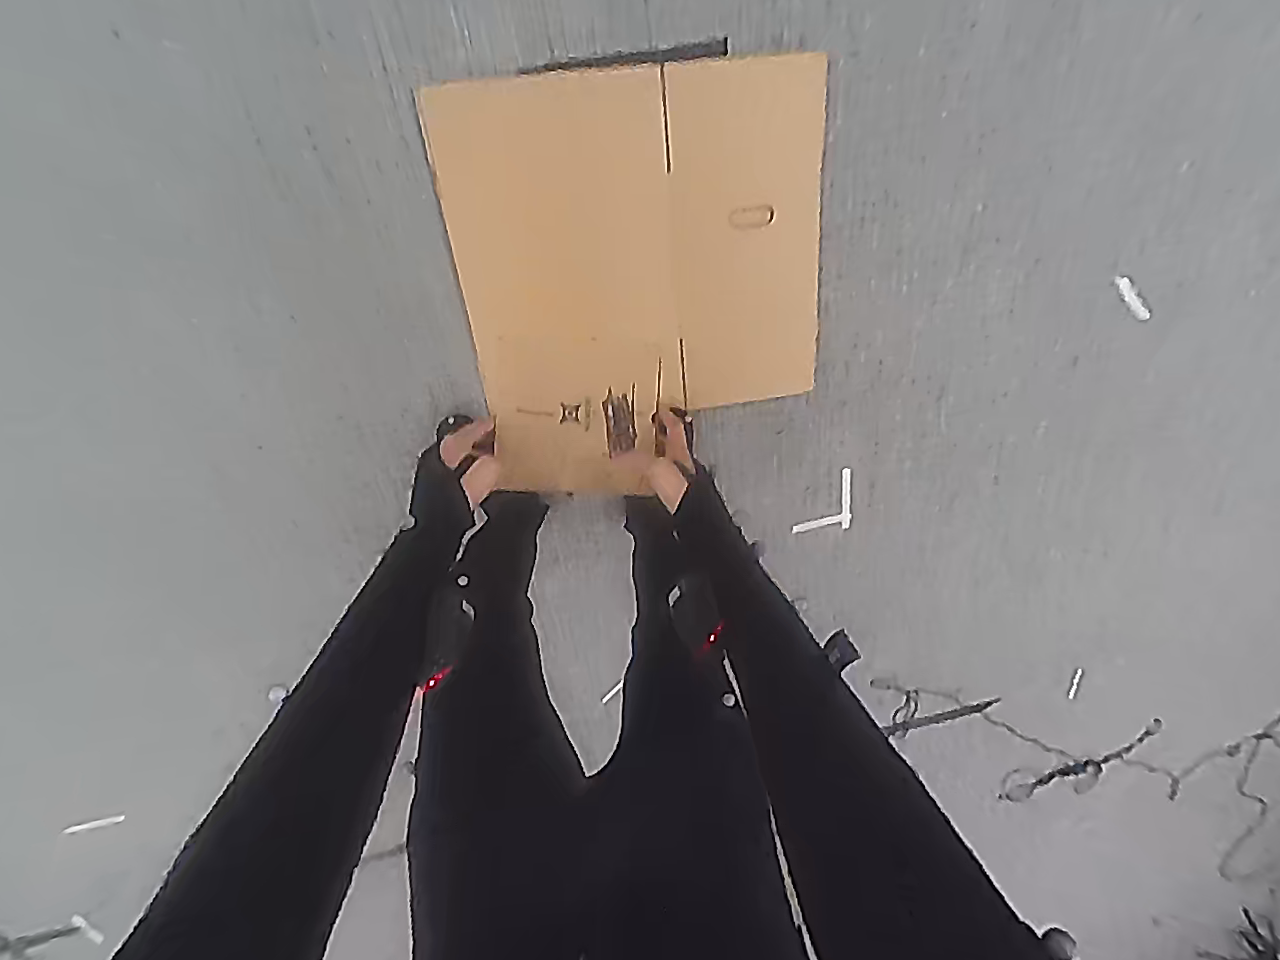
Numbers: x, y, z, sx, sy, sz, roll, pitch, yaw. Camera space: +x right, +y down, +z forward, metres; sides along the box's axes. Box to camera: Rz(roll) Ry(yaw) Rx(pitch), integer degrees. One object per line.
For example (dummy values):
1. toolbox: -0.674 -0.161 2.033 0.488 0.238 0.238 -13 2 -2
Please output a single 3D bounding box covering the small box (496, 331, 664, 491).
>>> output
1. small box: -0.072 -0.075 0.667 0.179 0.176 0.168 3 89 -5
